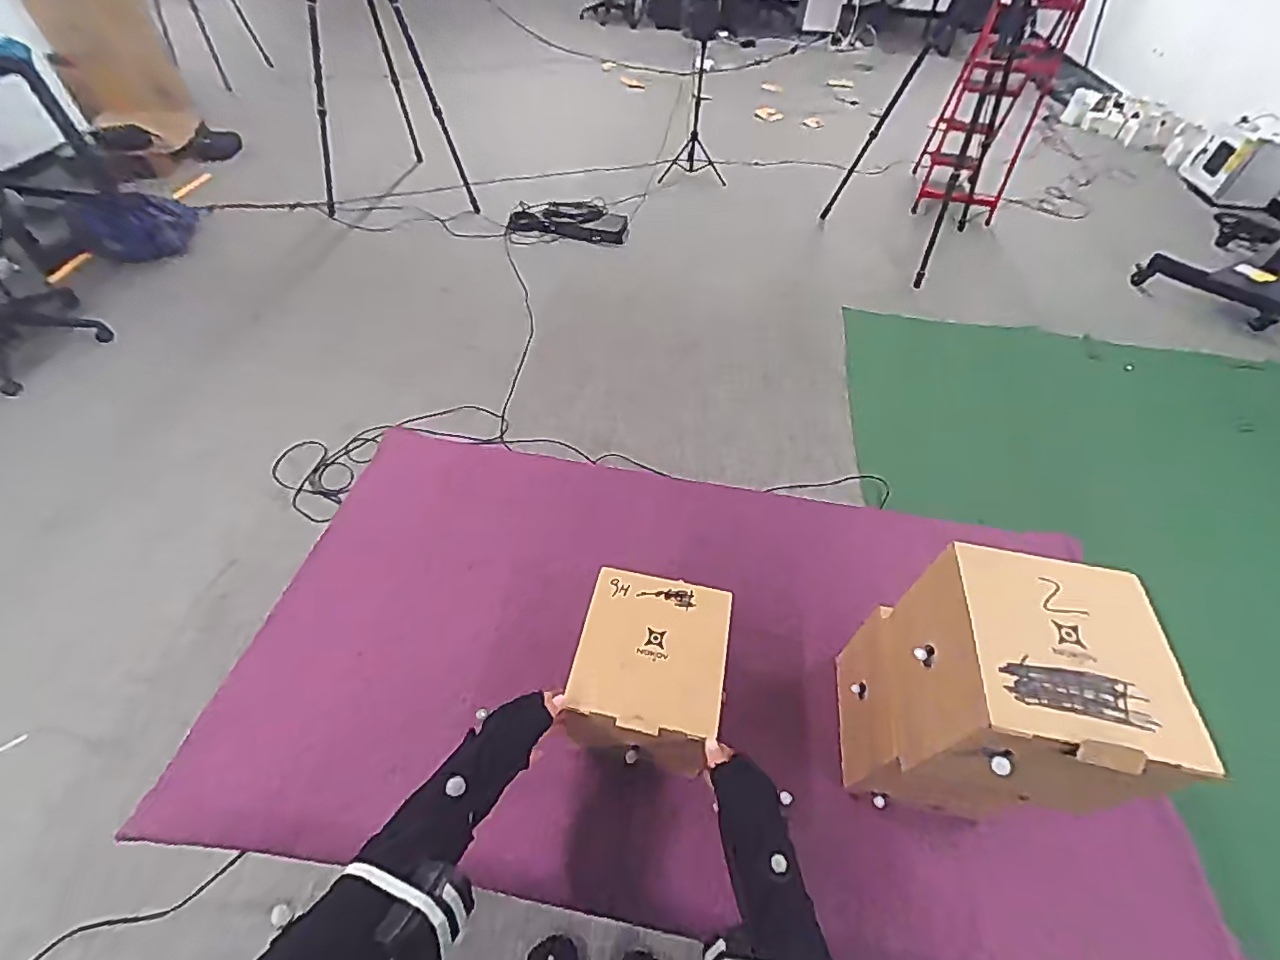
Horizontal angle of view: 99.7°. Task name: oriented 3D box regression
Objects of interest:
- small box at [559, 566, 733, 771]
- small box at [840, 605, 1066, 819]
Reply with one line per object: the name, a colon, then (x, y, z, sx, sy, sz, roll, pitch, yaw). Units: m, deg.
small box: (0.011, 0.236, 0.665, 0.168, 0.176, 0.179, 12, 52, 6)
small box: (0.349, 0.281, 0.644, 0.168, 0.176, 0.179, 13, 52, 5)
